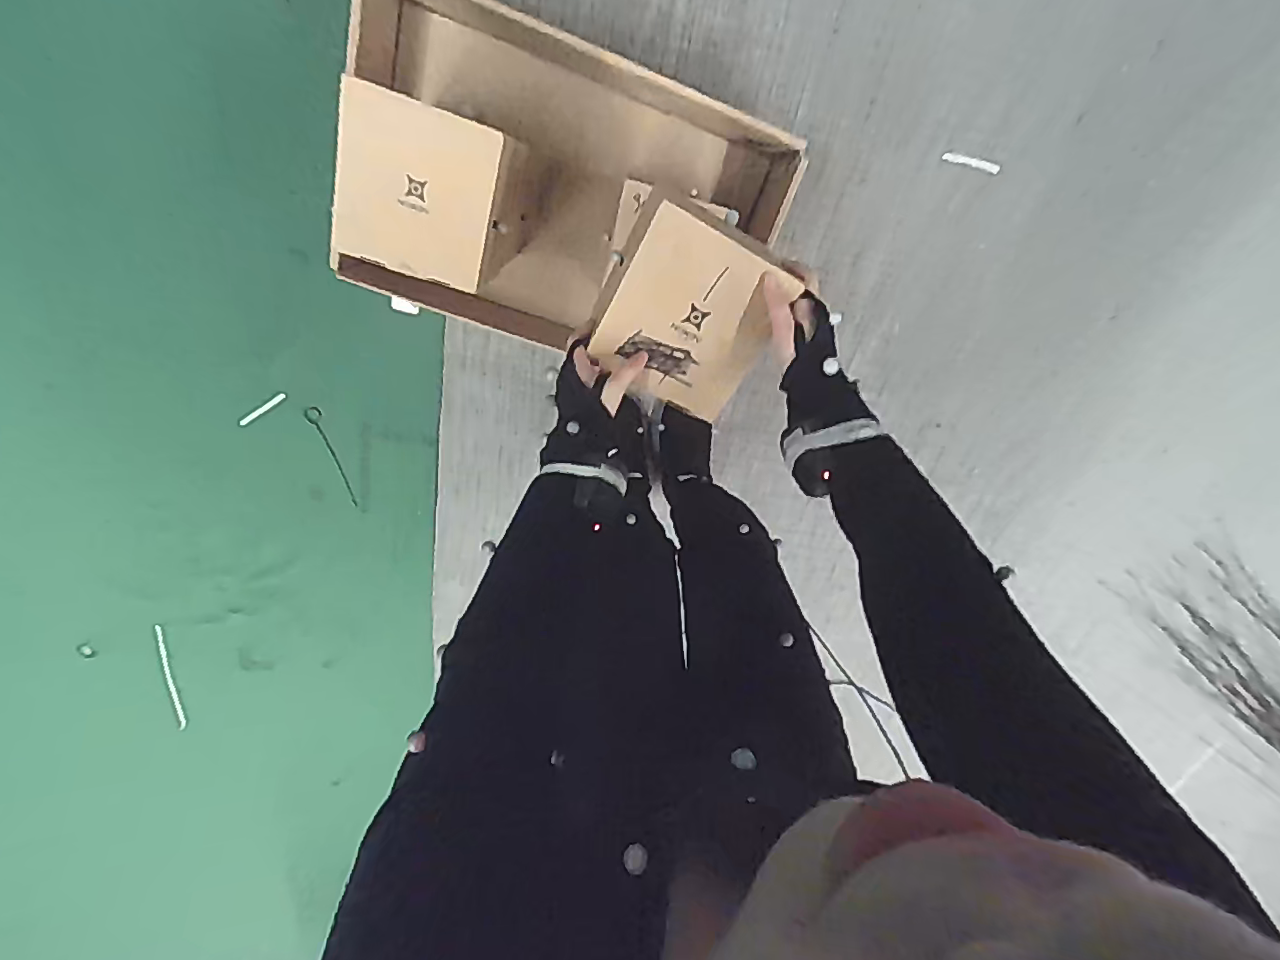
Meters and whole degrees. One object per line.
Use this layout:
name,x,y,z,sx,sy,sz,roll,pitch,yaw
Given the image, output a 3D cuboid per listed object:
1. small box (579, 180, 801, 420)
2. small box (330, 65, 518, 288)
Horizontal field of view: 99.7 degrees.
small box,0.047,-0.206,0.610,0.168,0.176,0.179,25,120,-18
small box,-0.253,-0.362,0.663,0.168,0.176,0.179,15,118,-13
